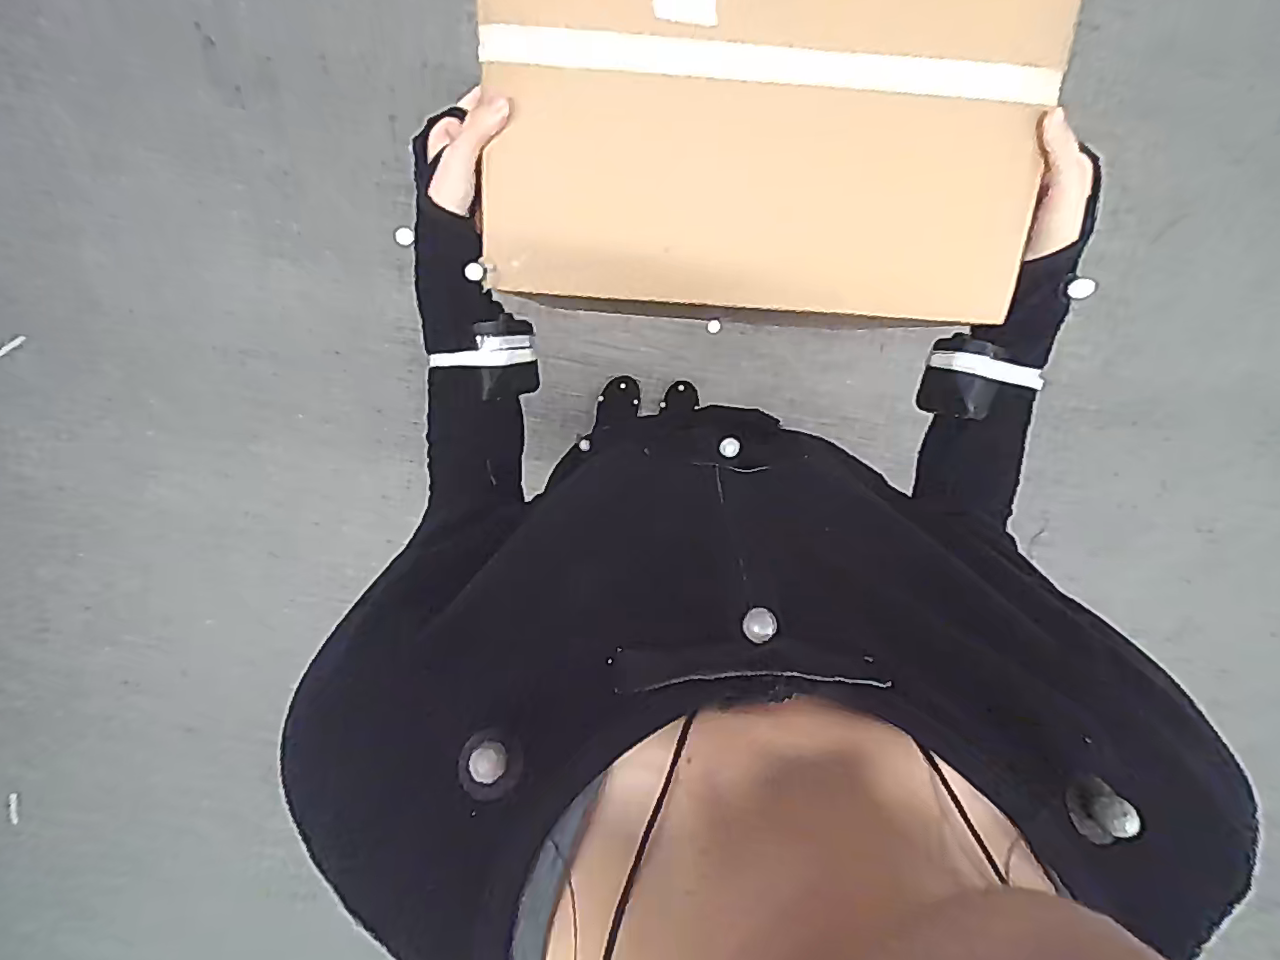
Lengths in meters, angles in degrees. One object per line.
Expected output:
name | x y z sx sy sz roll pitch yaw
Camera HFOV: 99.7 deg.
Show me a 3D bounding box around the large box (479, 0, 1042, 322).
large box | 0.082 -0.327 0.538 0.408 0.320 0.320 3 105 -2
